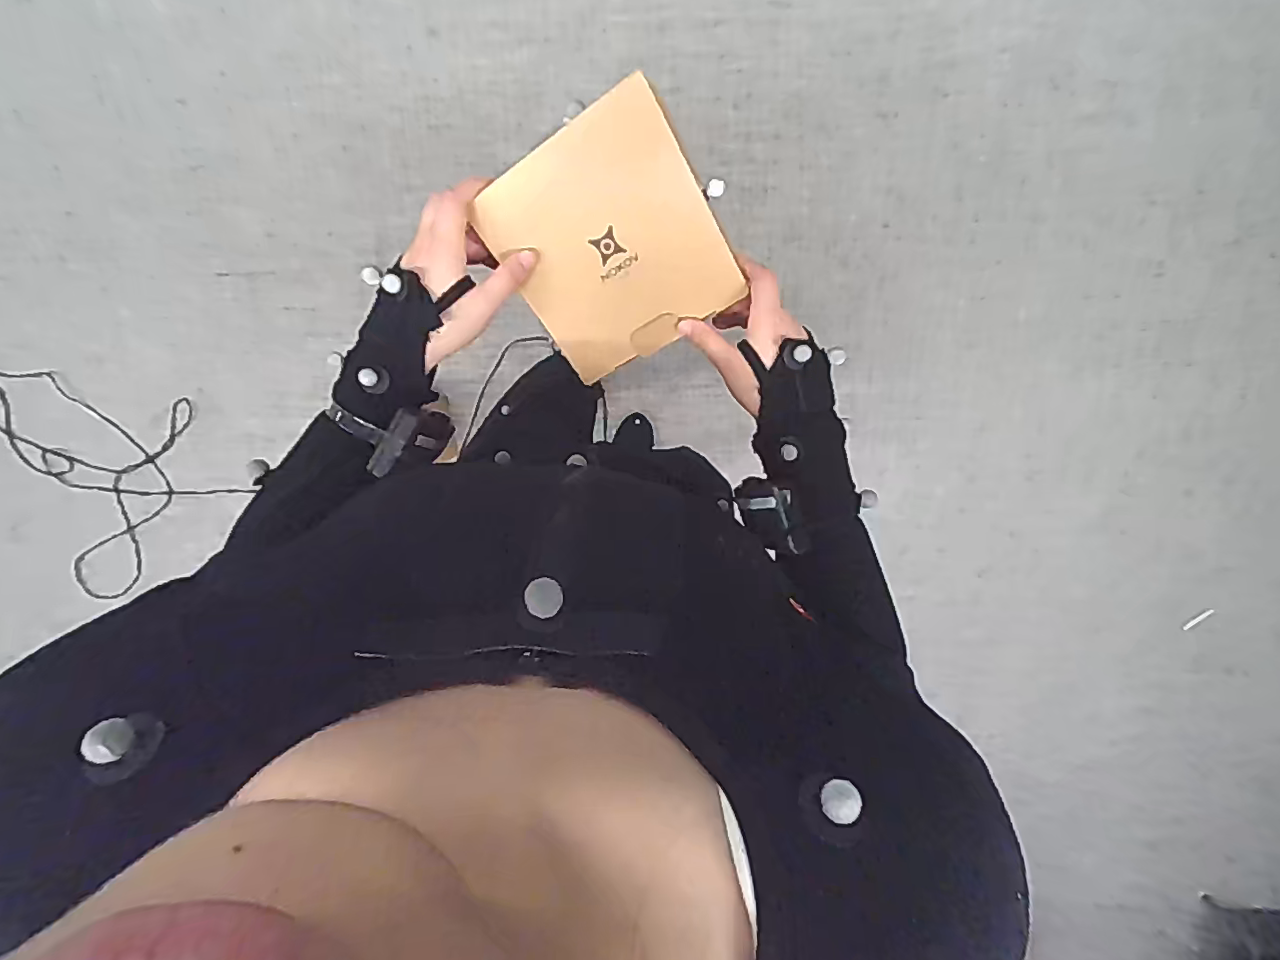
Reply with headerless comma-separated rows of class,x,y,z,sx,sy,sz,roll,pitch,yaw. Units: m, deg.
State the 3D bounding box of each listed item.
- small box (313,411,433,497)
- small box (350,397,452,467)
small box,-0.595,-0.064,1.224,0.179,0.176,0.168,-4,103,1
small box,-0.597,-0.117,1.381,0.179,0.176,0.168,-8,102,3
